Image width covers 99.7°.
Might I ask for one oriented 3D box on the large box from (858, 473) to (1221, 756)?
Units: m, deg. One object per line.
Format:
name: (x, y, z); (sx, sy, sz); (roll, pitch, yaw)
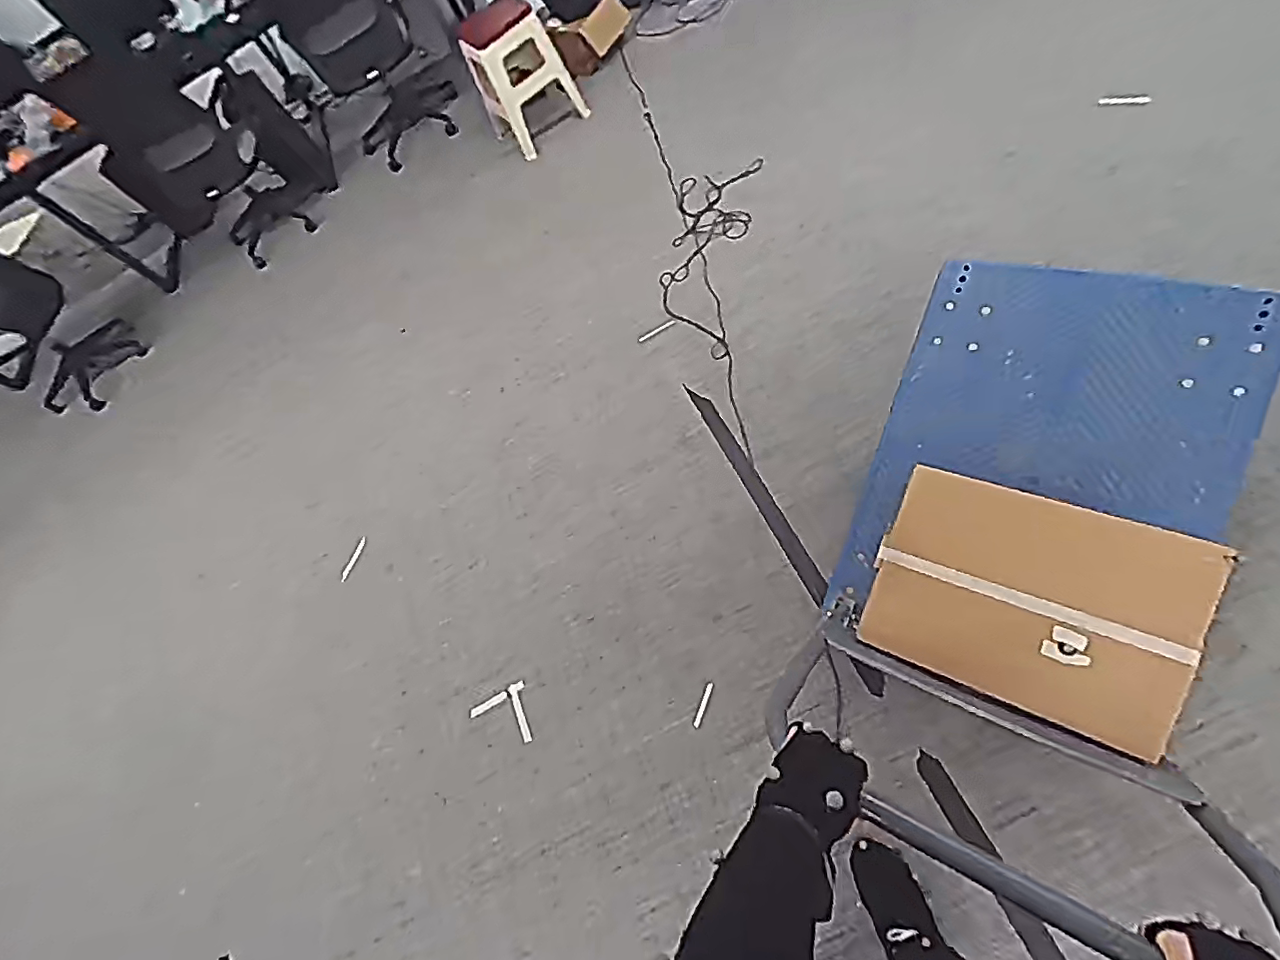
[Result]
large box: (0.645, 0.202, 0.964); (0.408, 0.320, 0.320); (19, 93, 26)
